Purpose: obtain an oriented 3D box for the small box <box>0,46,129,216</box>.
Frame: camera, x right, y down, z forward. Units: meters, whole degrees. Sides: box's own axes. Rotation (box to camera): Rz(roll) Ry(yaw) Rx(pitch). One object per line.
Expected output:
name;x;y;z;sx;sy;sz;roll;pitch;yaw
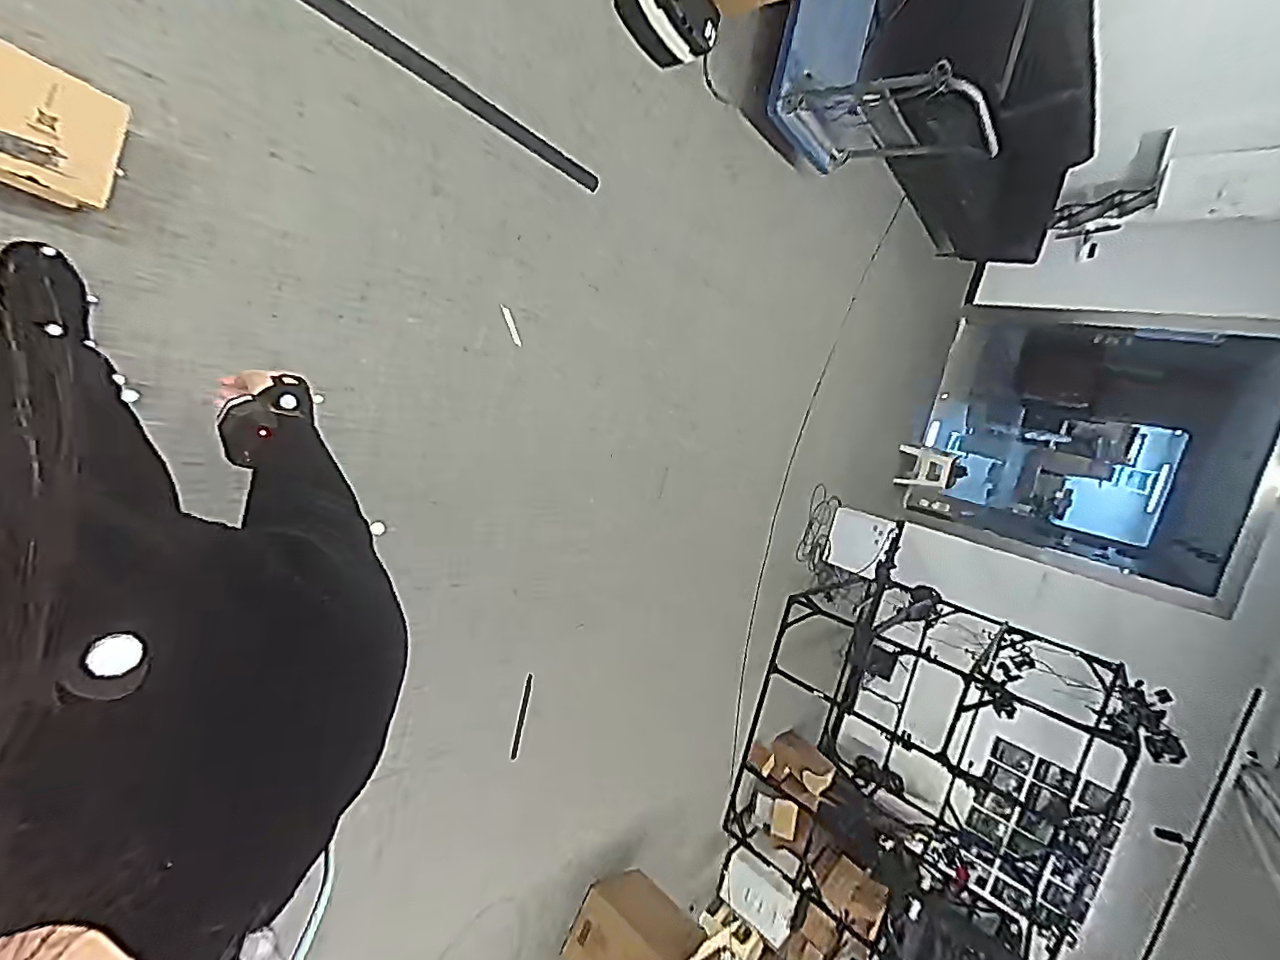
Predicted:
small box;-0.955;-0.542;0.858;0.168;0.176;0.179;15;93;-52
